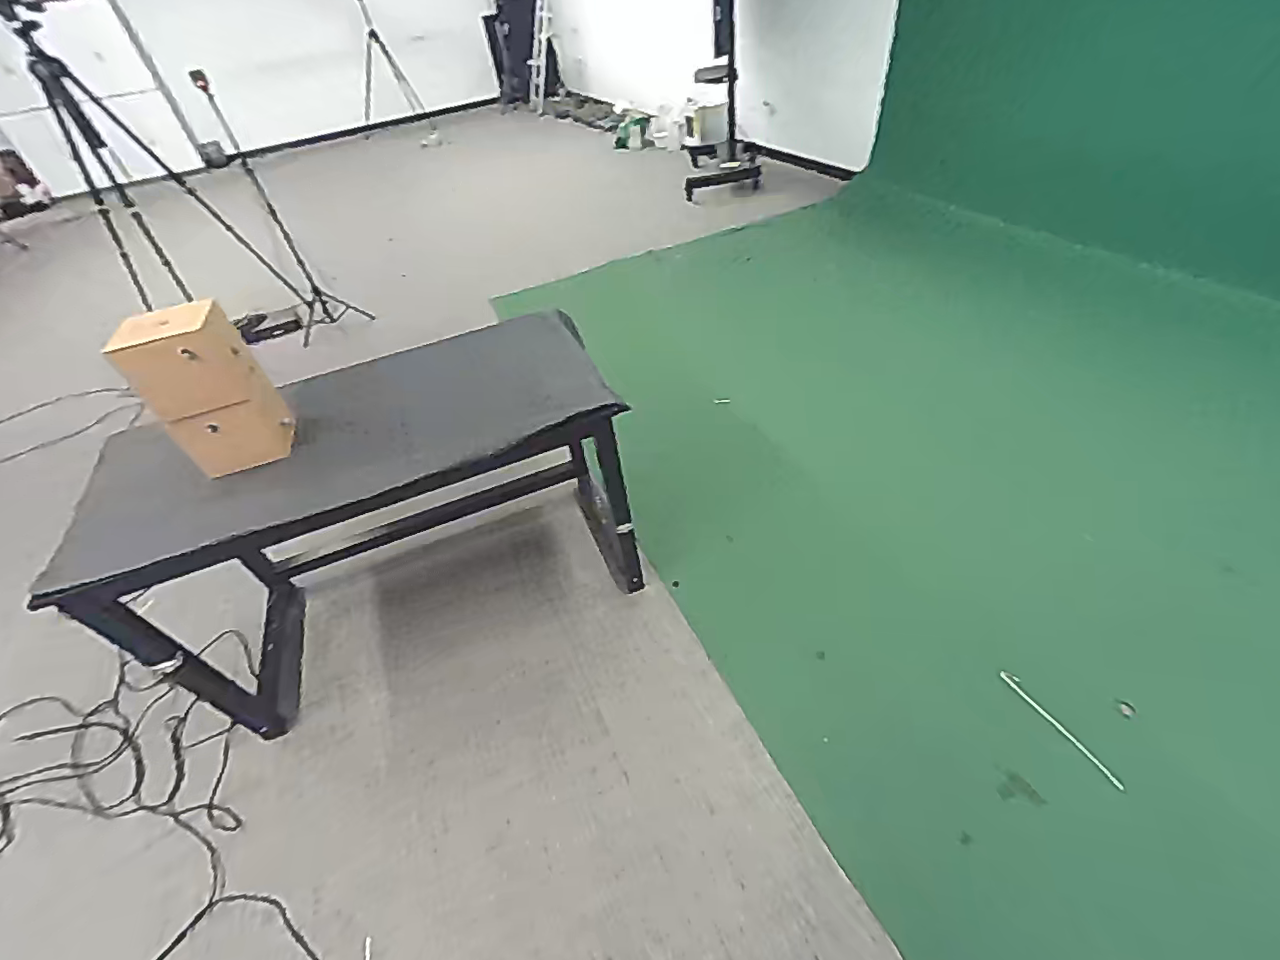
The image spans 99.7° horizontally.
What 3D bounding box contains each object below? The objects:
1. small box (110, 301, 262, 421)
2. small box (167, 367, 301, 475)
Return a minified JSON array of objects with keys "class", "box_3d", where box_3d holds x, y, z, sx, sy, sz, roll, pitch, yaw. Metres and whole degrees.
[{"class":"small box","box_3d":[-0.946,-0.252,1.150,0.179,0.176,0.168,-19,44,-12]},{"class":"small box","box_3d":[-0.937,-0.135,1.266,0.179,0.176,0.168,-18,44,-11]}]
